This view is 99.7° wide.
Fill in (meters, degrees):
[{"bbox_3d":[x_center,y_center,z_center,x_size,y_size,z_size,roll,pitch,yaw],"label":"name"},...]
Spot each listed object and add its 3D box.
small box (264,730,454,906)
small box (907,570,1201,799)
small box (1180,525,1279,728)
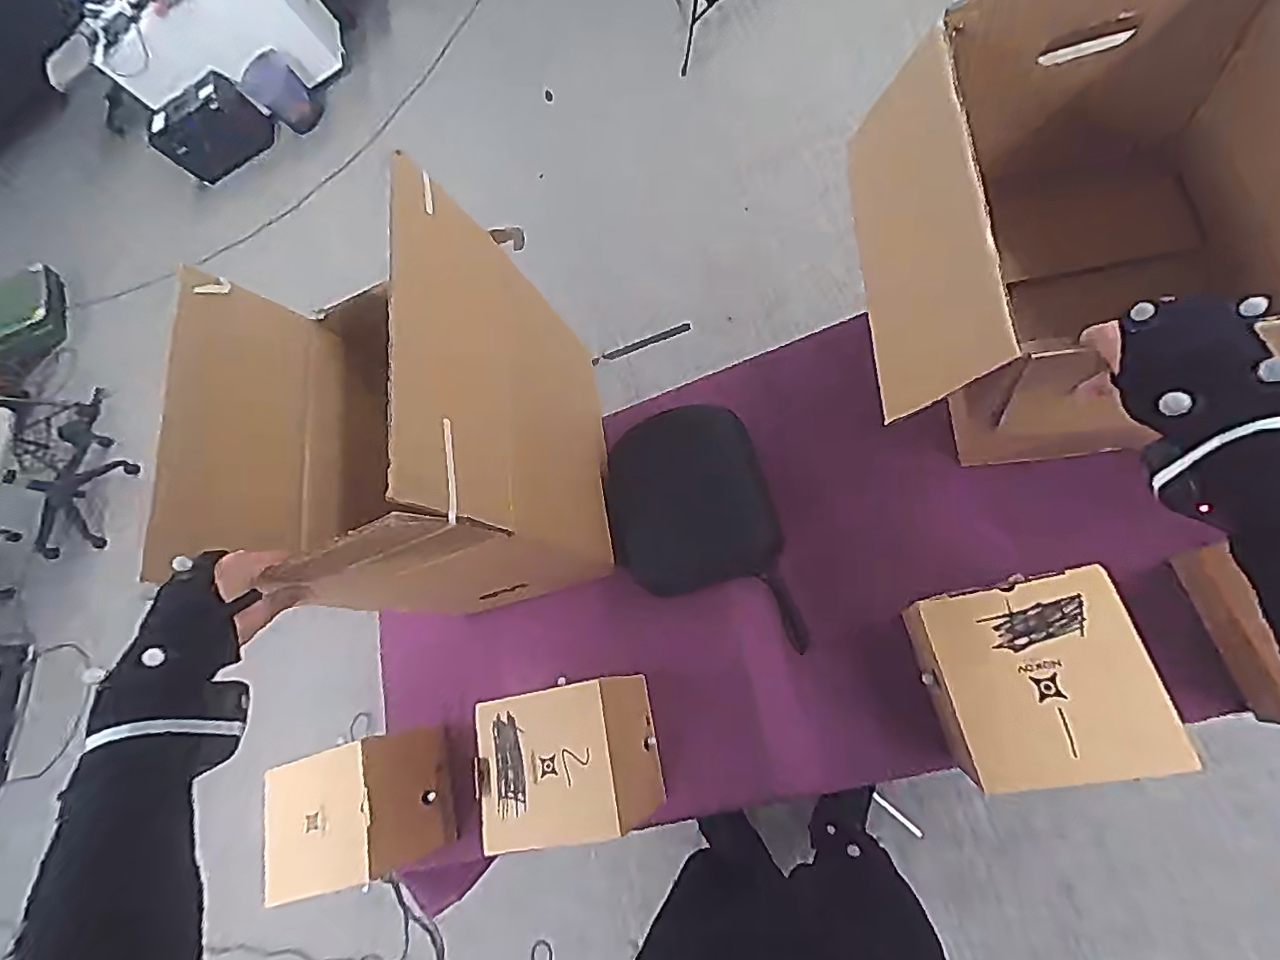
[{"bbox_3d":[-0.399,0.475,0.782,0.179,0.176,0.168,-22,66,12],"label":"small box"},{"bbox_3d":[0.393,0.207,0.560,0.168,0.176,0.179,-17,68,16],"label":"small box"},{"bbox_3d":[0.654,0.125,0.482,0.168,0.176,0.179,-16,67,17],"label":"small box"}]
